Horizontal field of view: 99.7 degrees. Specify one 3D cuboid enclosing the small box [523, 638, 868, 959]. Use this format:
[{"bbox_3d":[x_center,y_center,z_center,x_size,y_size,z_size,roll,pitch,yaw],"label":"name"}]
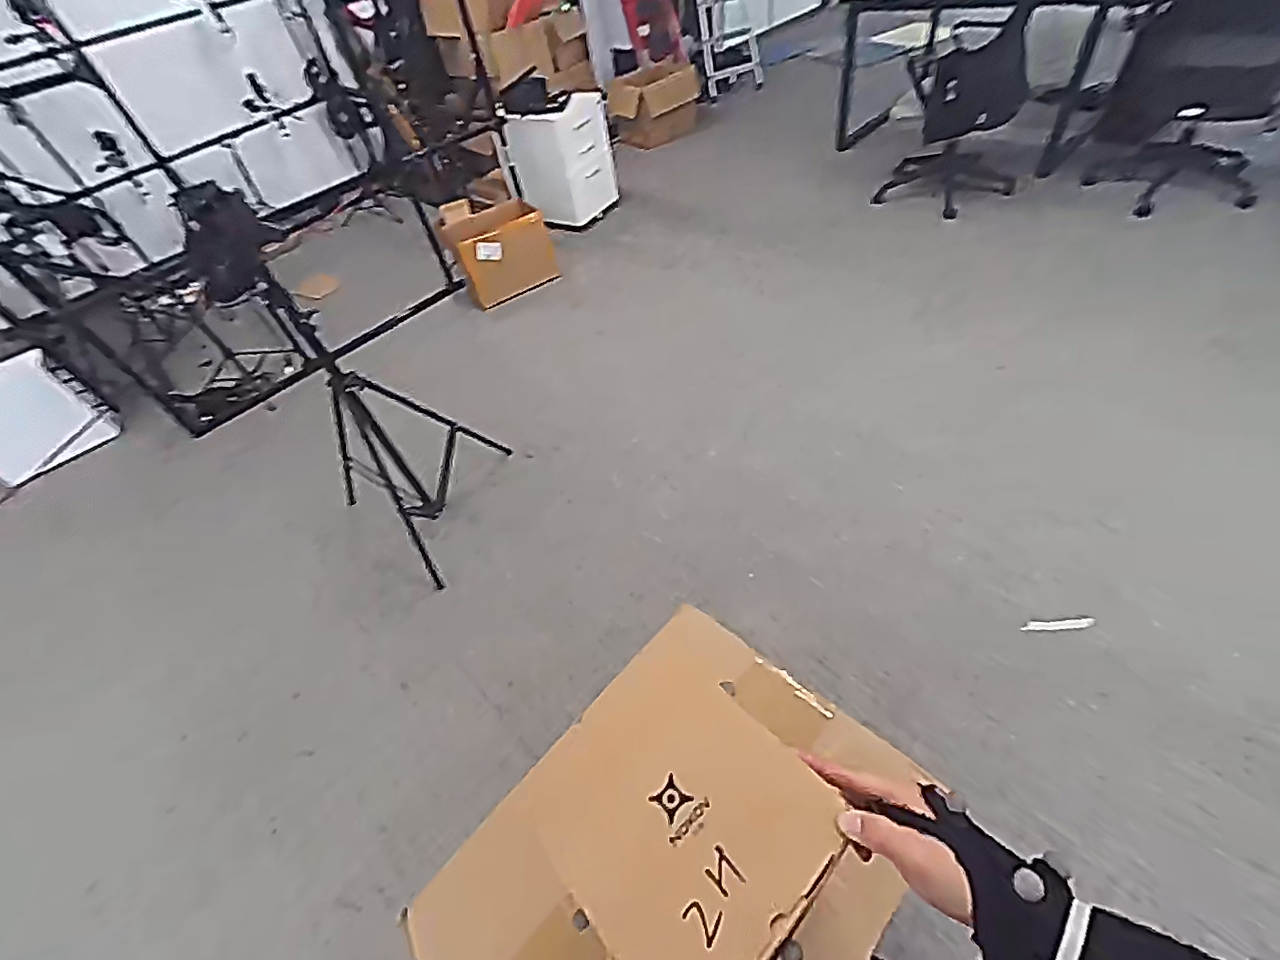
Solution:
[{"bbox_3d":[0.044,0.266,0.419,0.168,0.176,0.179,-39,51,-21],"label":"small box"}]
